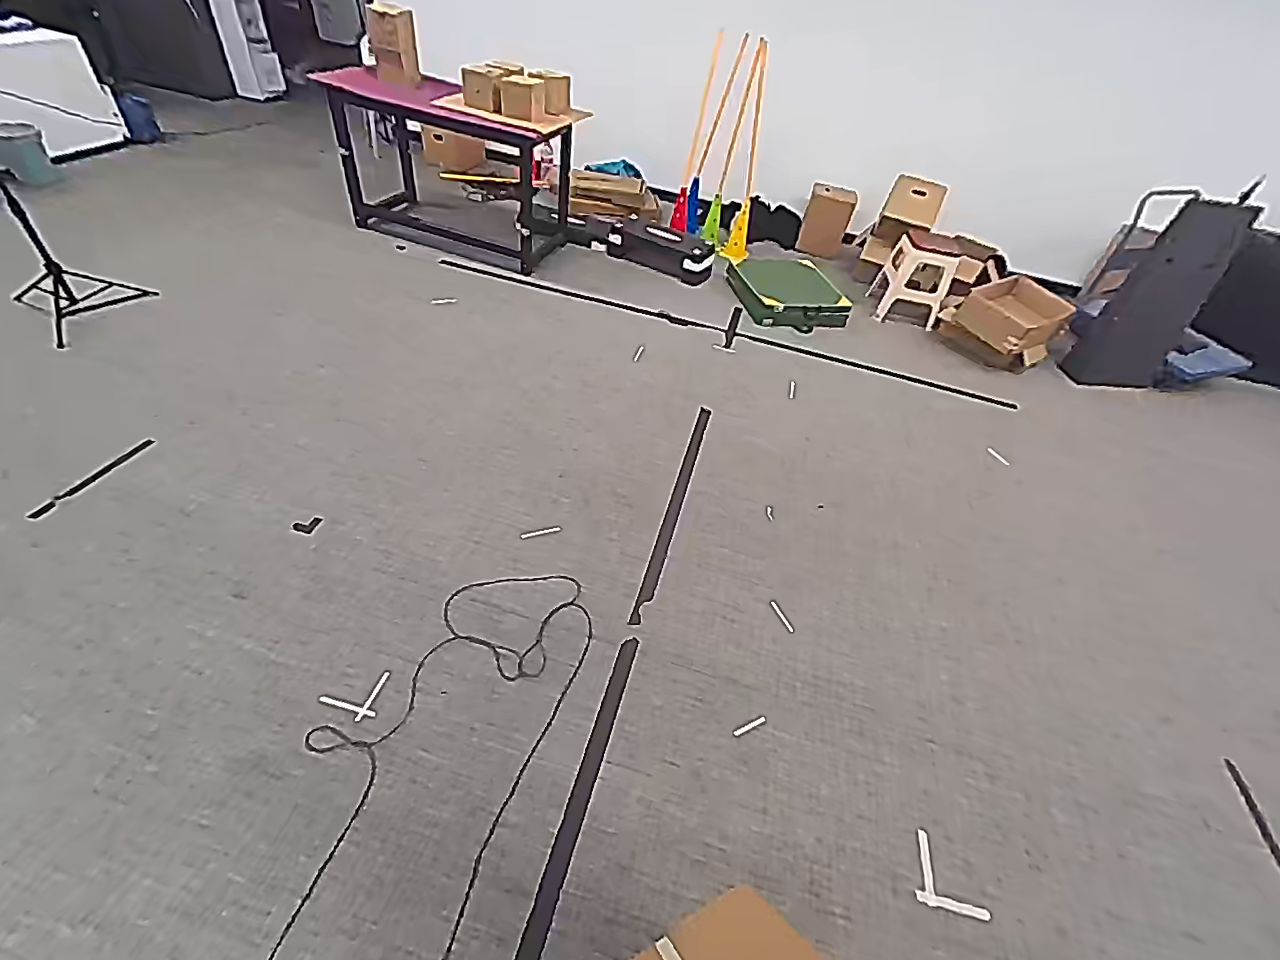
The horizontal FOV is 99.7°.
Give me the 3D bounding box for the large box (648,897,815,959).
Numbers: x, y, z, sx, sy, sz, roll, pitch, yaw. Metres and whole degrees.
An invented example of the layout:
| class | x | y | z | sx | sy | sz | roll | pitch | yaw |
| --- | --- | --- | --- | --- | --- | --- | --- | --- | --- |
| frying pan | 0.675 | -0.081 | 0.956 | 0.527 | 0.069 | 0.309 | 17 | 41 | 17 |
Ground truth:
| class | x | y | z | sx | sy | sz | roll | pitch | yaw |
| --- | --- | --- | --- | --- | --- | --- | --- | --- | --- |
| large box | 0.154 | 0.807 | 0.612 | 0.320 | 0.408 | 0.320 | -18 | 87 | -23 |
